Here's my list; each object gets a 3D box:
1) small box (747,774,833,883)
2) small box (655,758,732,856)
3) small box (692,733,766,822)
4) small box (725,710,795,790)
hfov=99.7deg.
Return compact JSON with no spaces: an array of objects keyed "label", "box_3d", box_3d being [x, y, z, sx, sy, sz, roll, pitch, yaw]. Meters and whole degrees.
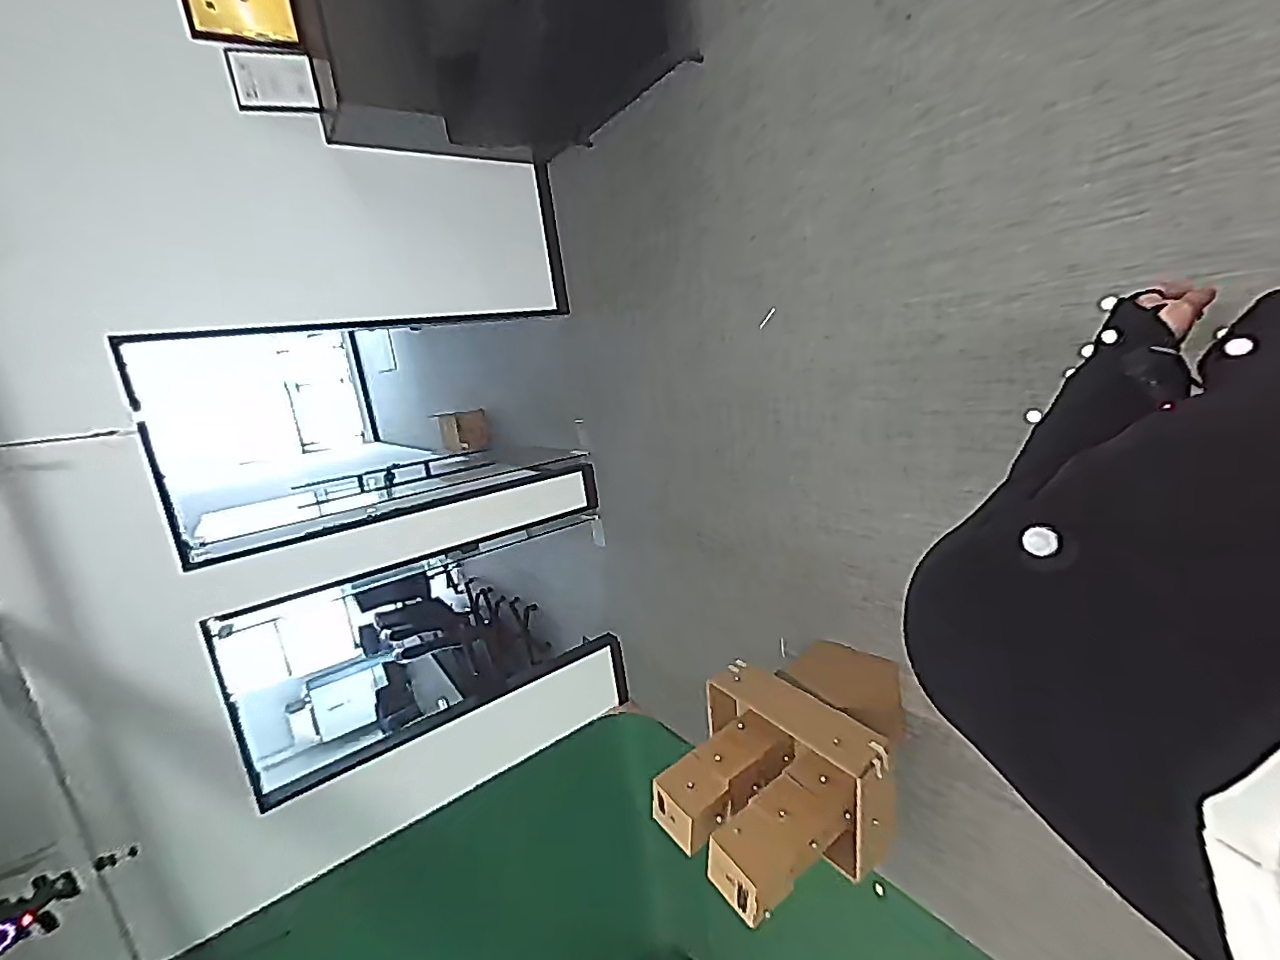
[{"label":"small box","box_3d":[0.443,1.018,1.597,0.179,0.176,0.168,28,124,48]},{"label":"small box","box_3d":[0.165,1.013,1.699,0.179,0.176,0.168,22,121,46]},{"label":"small box","box_3d":[0.295,0.972,1.791,0.179,0.176,0.168,10,111,50]},{"label":"small box","box_3d":[0.420,0.934,1.886,0.179,0.176,0.168,12,113,51]}]
